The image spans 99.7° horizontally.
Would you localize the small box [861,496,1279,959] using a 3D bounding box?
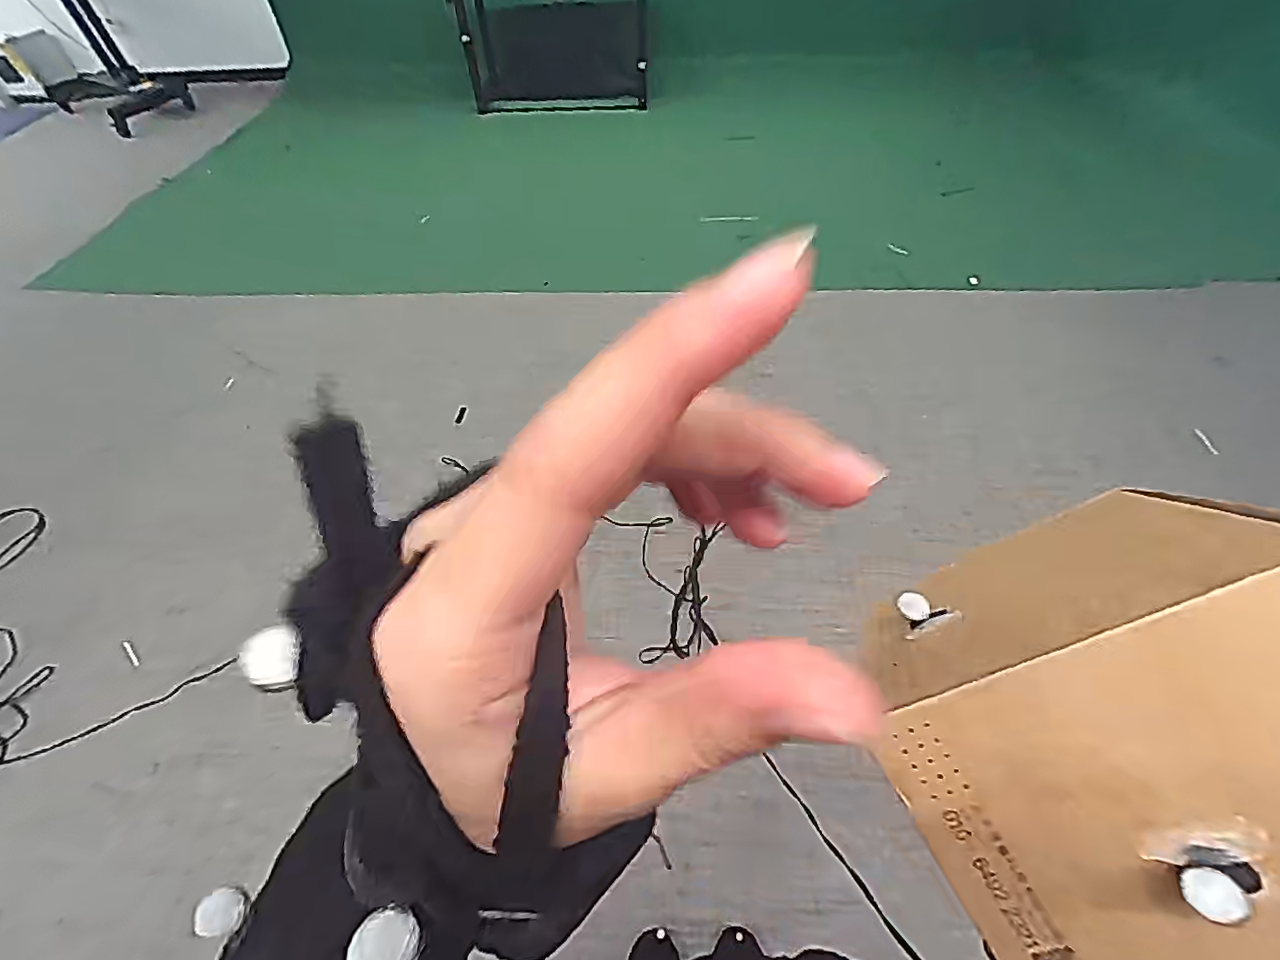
[{"bbox_3d":[0.223,0.126,0.251,0.176,0.179,0.168,-34,80,22],"label":"small box"}]
